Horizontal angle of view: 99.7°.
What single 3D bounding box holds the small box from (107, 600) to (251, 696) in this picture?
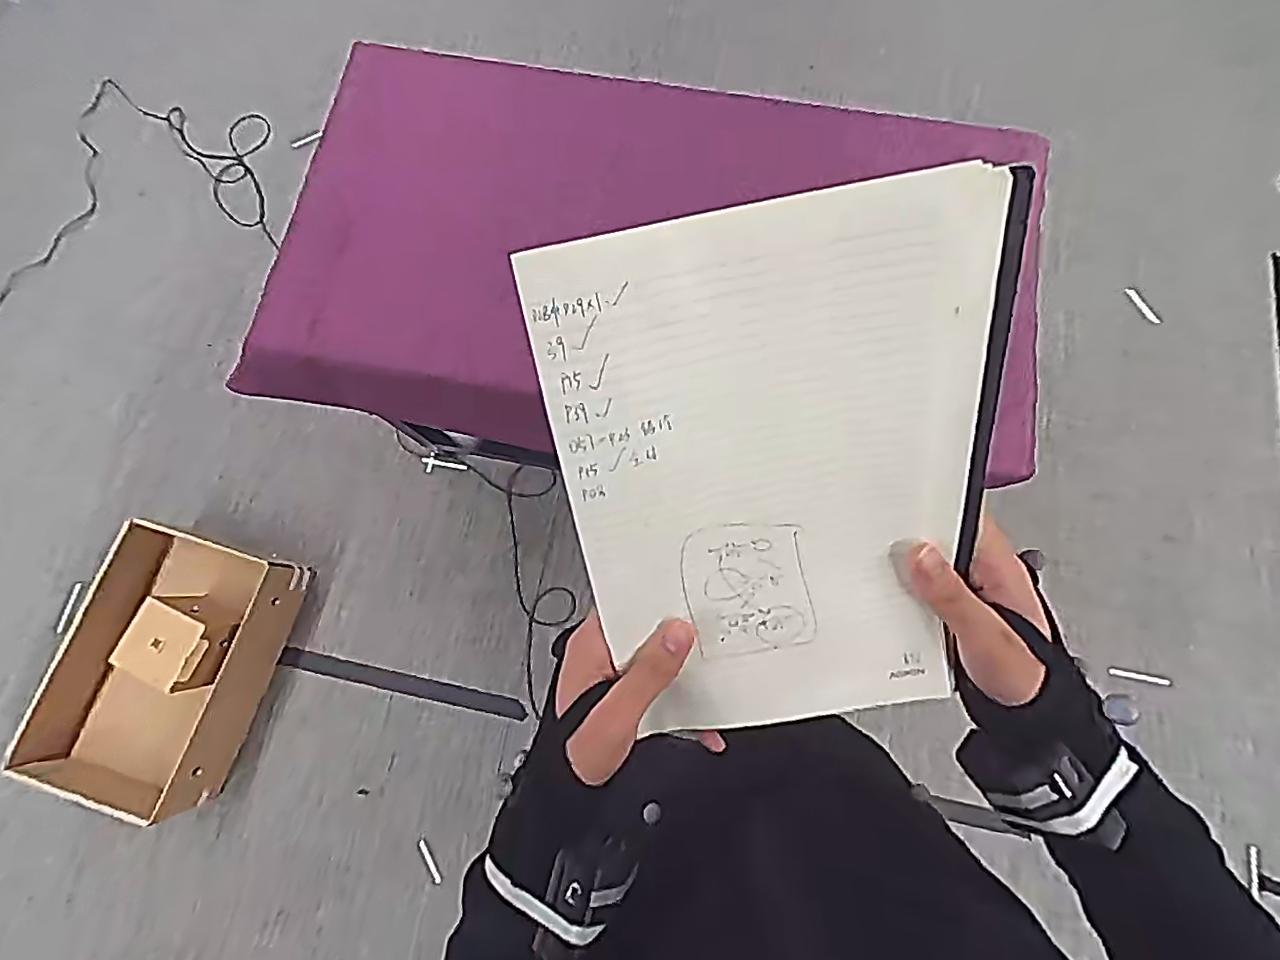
[{"bbox_3d":[-1.118,0.403,1.330,0.179,0.176,0.168,24,79,6],"label":"small box"}]
